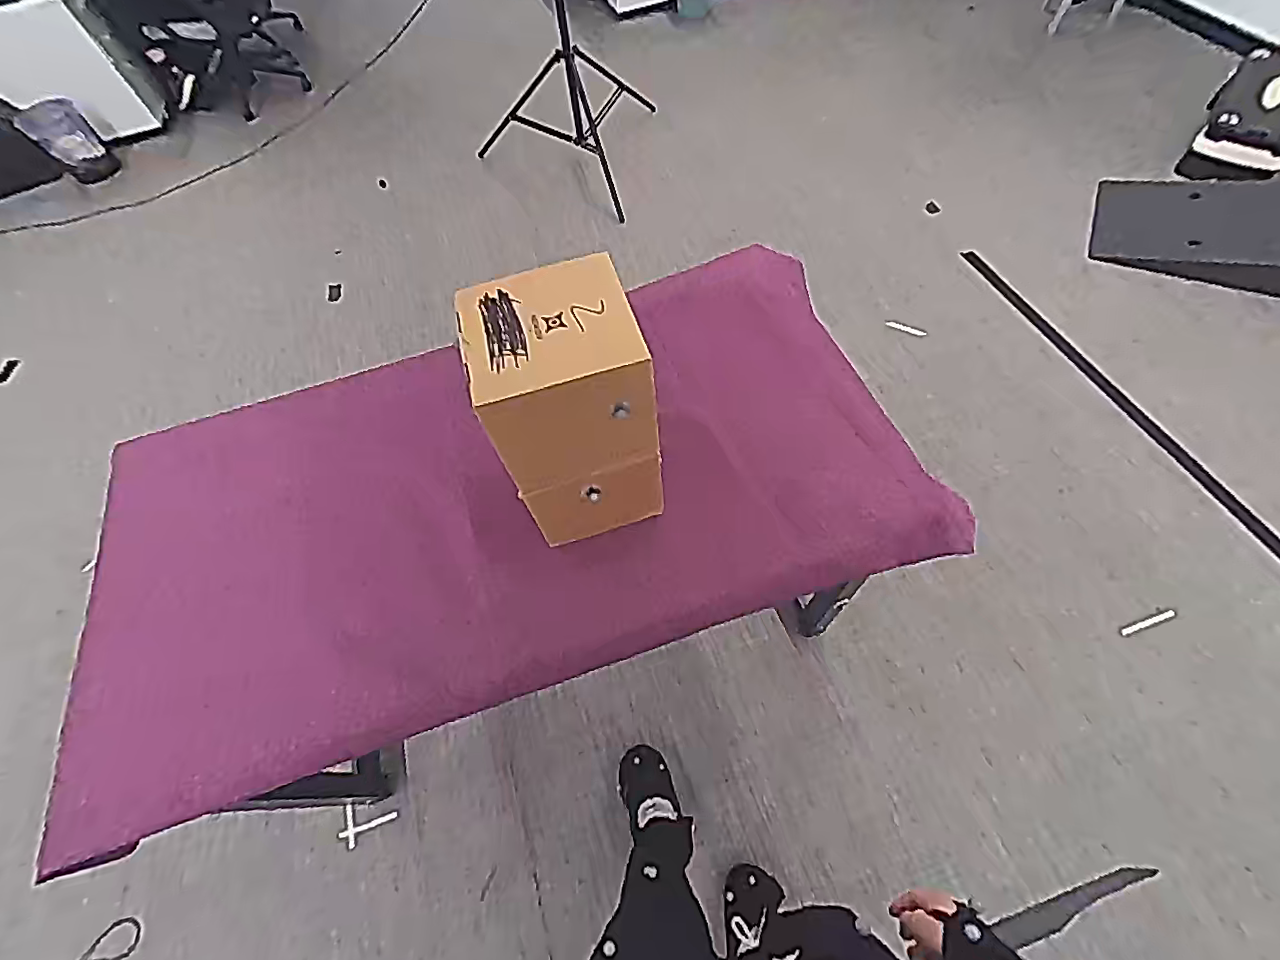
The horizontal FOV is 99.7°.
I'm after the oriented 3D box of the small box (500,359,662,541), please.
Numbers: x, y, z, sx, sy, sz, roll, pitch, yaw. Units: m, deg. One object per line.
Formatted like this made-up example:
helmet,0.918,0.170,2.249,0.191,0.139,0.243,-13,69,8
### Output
small box,-0.076,-0.034,0.757,0.179,0.176,0.168,-17,61,-5
